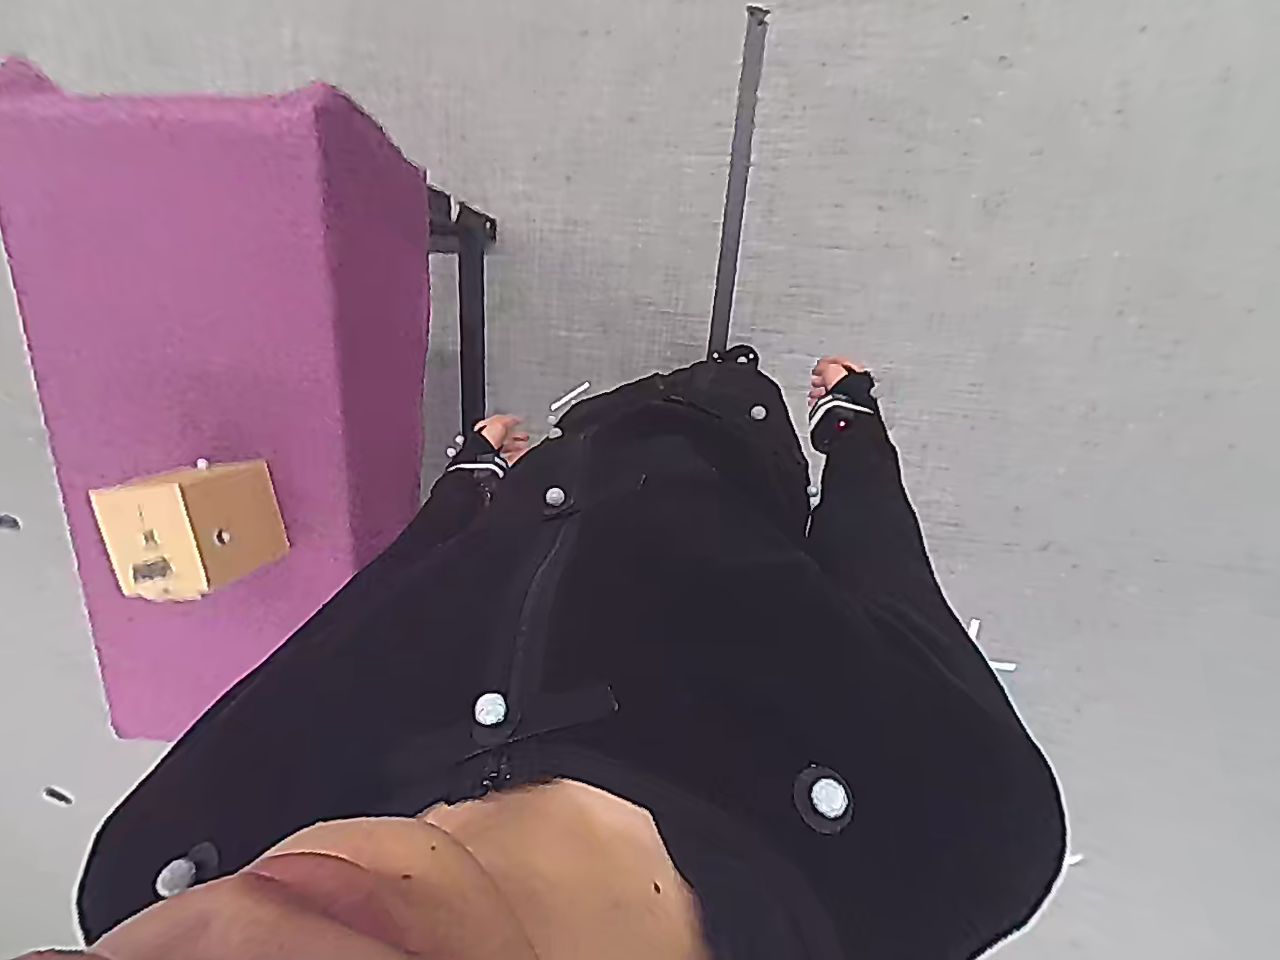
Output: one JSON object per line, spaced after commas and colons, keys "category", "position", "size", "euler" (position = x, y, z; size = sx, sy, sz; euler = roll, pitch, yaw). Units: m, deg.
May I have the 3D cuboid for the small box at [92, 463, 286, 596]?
{"category": "small box", "position": [-0.744, 0.079, 0.915], "size": [0.168, 0.176, 0.179], "euler": [-5, 103, 9]}
